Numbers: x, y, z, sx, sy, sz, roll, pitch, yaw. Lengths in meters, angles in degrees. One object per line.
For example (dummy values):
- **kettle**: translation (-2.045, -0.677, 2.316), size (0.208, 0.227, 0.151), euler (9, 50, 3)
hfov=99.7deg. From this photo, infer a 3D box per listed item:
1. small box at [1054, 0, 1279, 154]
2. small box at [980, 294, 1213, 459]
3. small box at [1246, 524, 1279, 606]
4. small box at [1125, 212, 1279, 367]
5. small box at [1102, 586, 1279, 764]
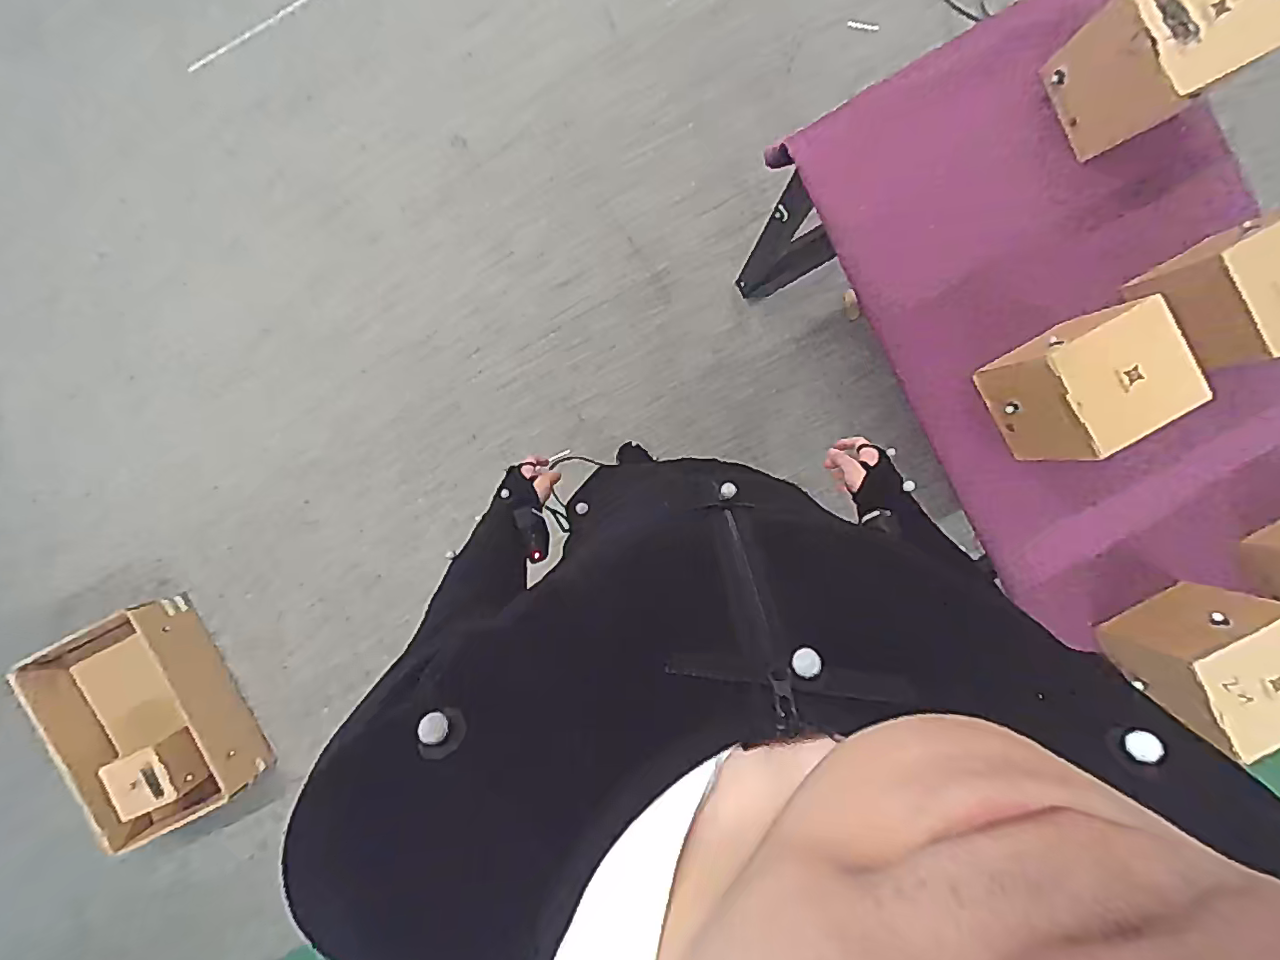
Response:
- **small box**: translation (0.753, -0.621, 0.784), size (0.179, 0.176, 0.168), euler (-27, 93, 3)
- **small box**: translation (0.668, -0.146, 0.813), size (0.179, 0.176, 0.168), euler (-30, 93, 2)
- **small box**: translation (1.115, 0.137, 0.821), size (0.179, 0.176, 0.168), euler (-30, 91, 2)
- **small box**: translation (0.898, -0.283, 0.804), size (0.179, 0.176, 0.168), euler (-28, 91, 3)
- **small box**: translation (0.879, 0.282, 0.827), size (0.179, 0.176, 0.168), euler (-28, 91, 1)
